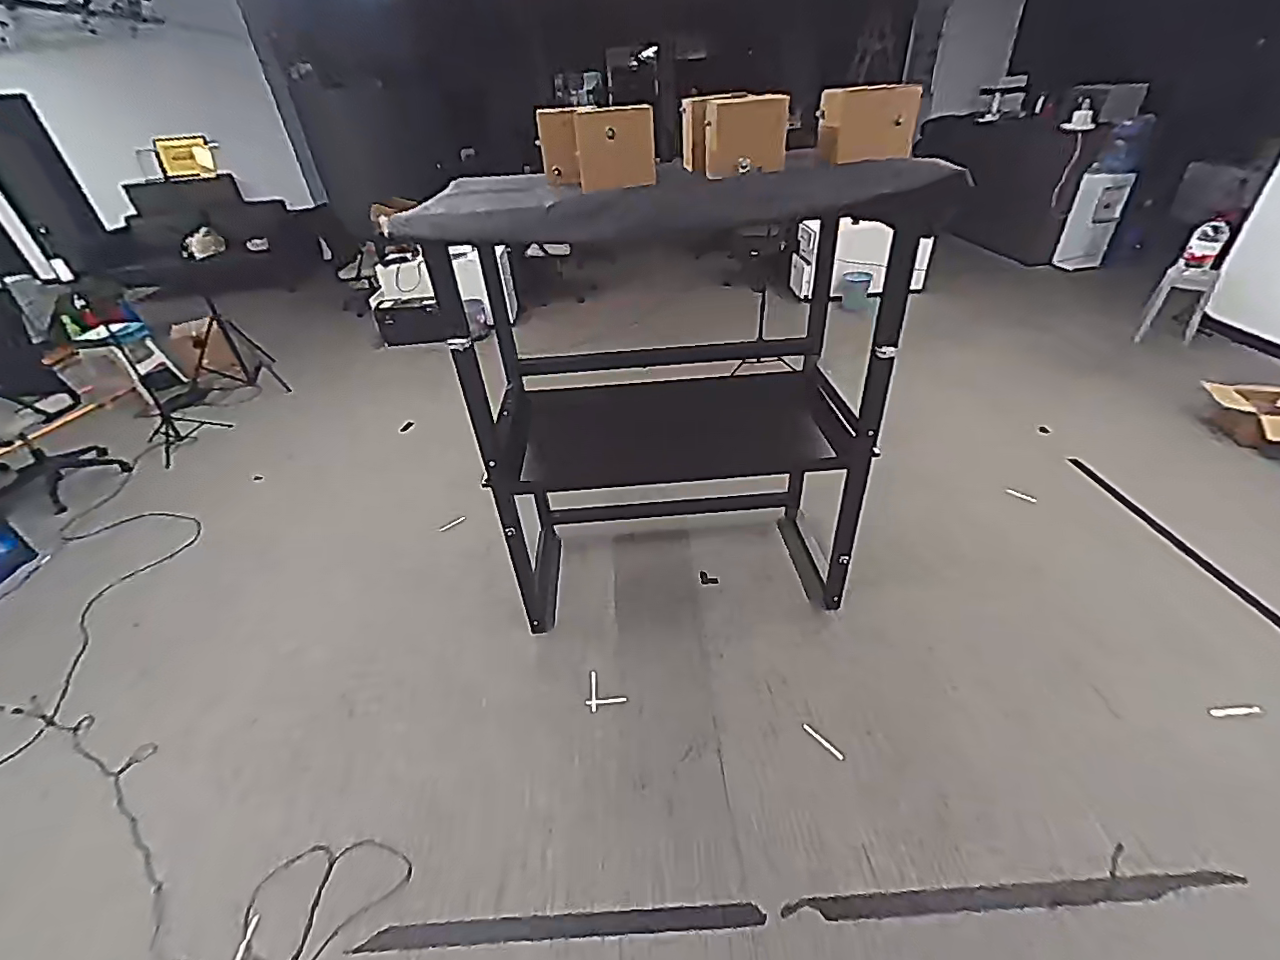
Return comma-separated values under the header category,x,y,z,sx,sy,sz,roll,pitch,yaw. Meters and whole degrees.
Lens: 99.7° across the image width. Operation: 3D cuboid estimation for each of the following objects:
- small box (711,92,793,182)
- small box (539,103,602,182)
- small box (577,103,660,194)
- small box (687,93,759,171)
category,x,y,z,sx,sy,sz,roll,pitch,yaw
small box,0.263,-0.830,1.310,0.168,0.176,0.179,-5,36,2
small box,-0.179,-0.930,1.492,0.168,0.176,0.179,-7,36,-3
small box,-0.047,-0.788,1.286,0.179,0.176,0.168,-3,36,1
small box,0.227,-0.970,1.503,0.179,0.176,0.168,-4,35,-1
